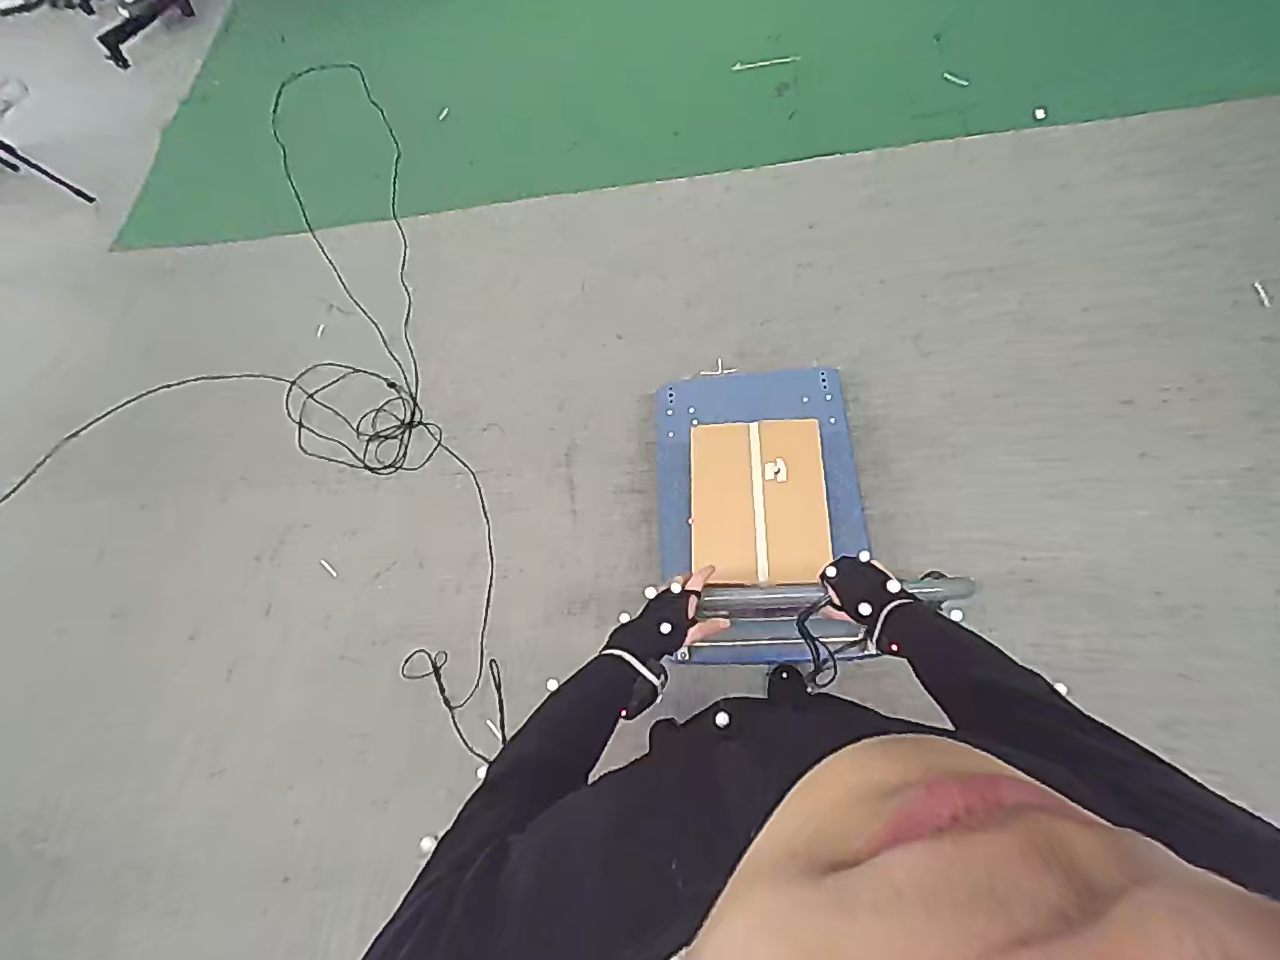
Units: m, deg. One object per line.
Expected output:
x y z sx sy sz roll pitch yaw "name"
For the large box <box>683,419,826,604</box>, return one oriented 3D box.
0.282 0.096 1.409 0.320 0.320 0.408 -2 68 8 "large box"
